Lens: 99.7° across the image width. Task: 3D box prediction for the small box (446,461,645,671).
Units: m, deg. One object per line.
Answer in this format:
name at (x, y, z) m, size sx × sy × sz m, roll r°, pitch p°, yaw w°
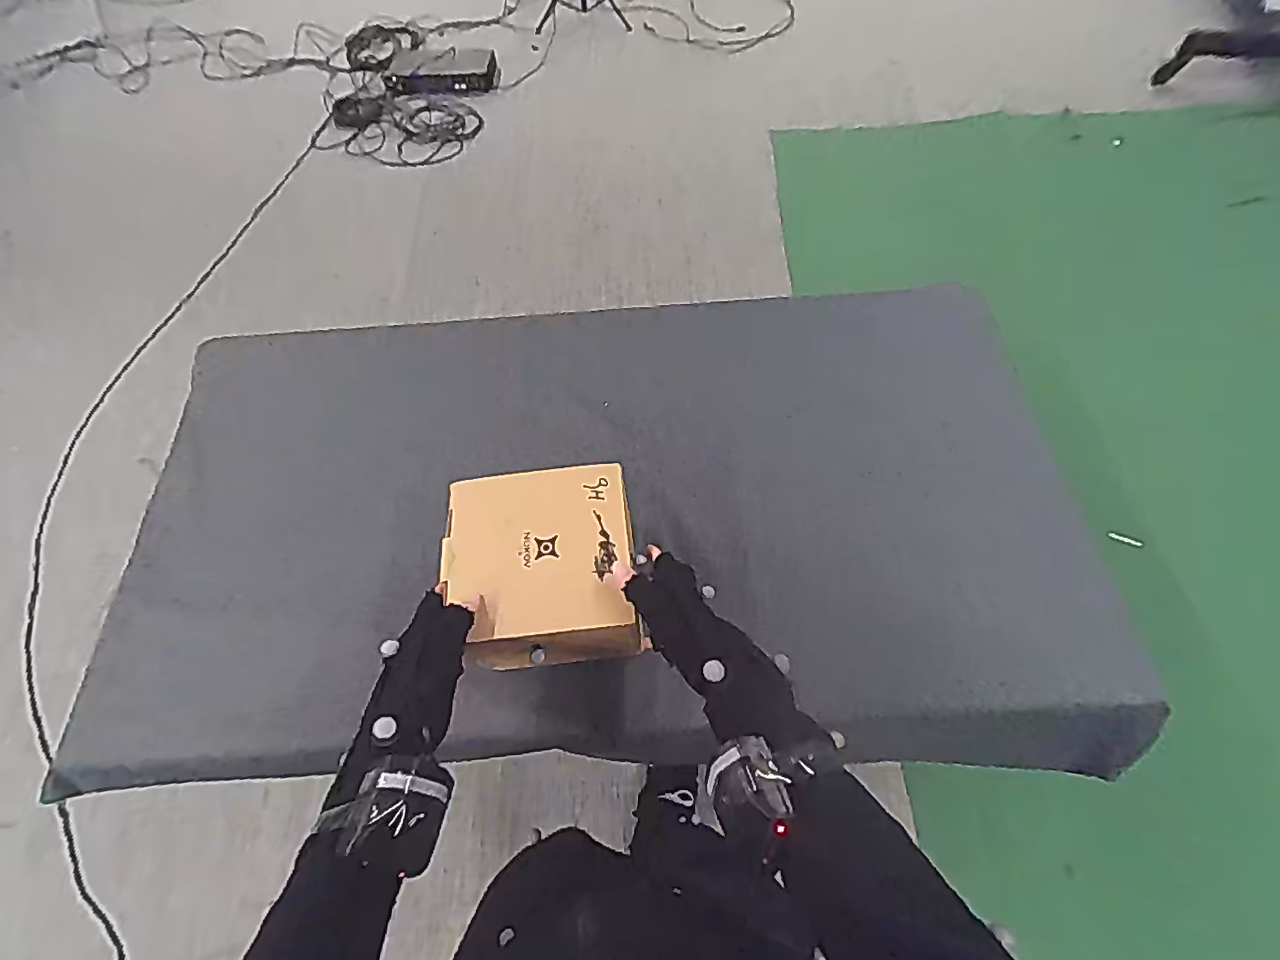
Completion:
small box at (-0.095, 0.102, 0.593) m, size 0.179 × 0.176 × 0.168 m, roll -9°, pitch 61°, yaw -2°
